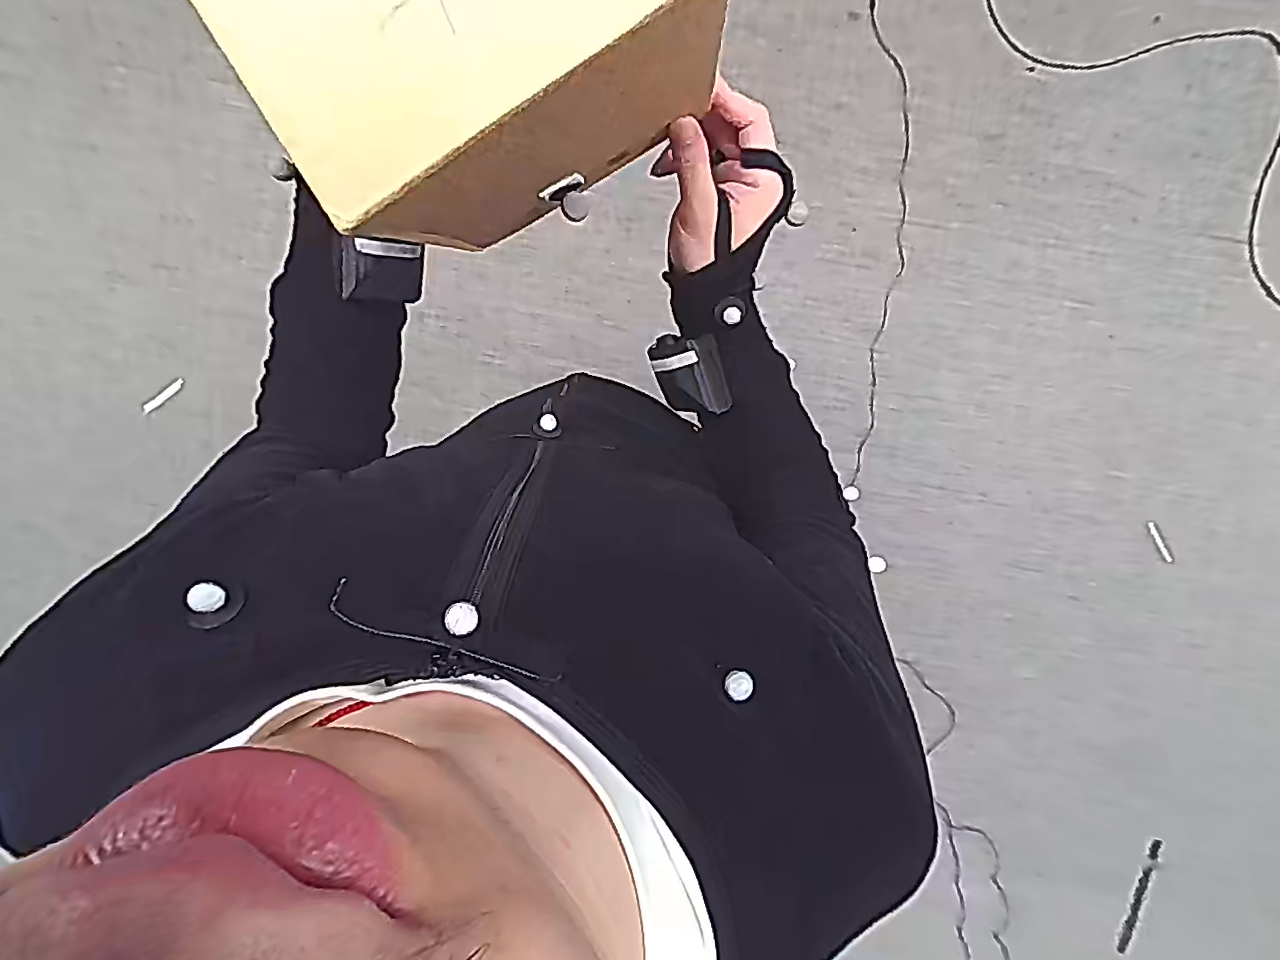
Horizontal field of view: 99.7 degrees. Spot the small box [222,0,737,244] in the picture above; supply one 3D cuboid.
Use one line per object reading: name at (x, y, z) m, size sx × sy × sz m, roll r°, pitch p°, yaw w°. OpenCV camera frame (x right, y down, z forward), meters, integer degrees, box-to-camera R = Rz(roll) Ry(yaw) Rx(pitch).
small box at (-0.072, -0.232, 0.248) m, size 0.168 × 0.176 × 0.179 m, roll -25°, pitch 106°, yaw 12°
